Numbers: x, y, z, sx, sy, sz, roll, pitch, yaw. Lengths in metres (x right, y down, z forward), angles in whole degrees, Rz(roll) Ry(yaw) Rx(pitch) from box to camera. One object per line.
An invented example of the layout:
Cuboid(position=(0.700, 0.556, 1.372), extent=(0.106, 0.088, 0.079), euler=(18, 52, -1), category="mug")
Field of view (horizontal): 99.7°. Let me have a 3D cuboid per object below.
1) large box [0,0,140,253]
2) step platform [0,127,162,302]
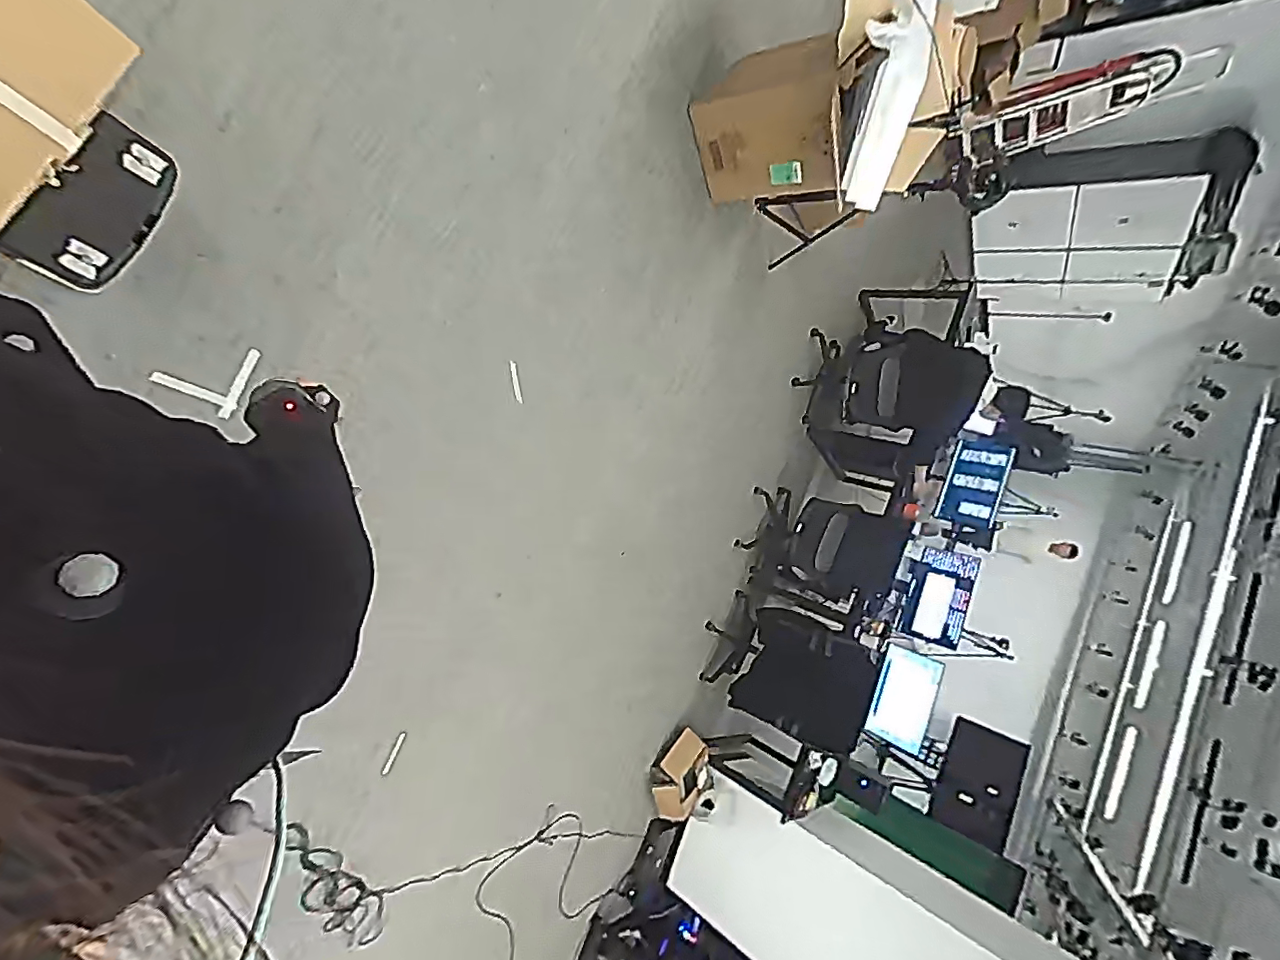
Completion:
Cuboid(position=(-0.909, -0.517, 0.607), extent=(0.408, 0.320, 0.320), euler=(38, 72, -49), category="large box")
Cuboid(position=(-1.106, -0.567, 0.735), extent=(0.684, 0.204, 0.286), euler=(42, 70, -49), category="step platform")
